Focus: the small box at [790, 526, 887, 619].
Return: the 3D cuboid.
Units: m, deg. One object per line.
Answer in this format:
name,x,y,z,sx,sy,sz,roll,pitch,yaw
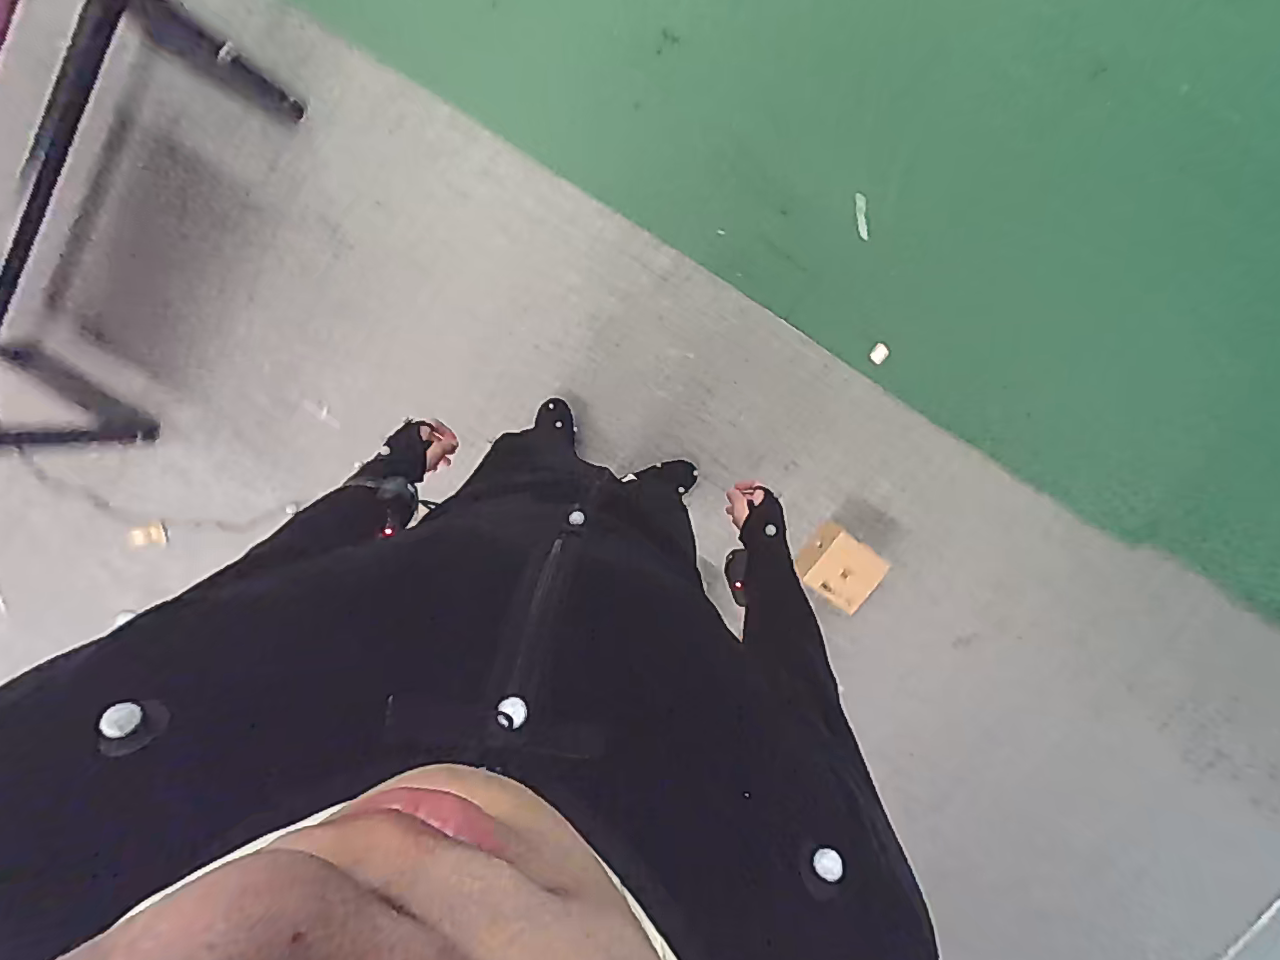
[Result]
small box,0.547,0.251,1.520,0.168,0.176,0.179,37,98,0
